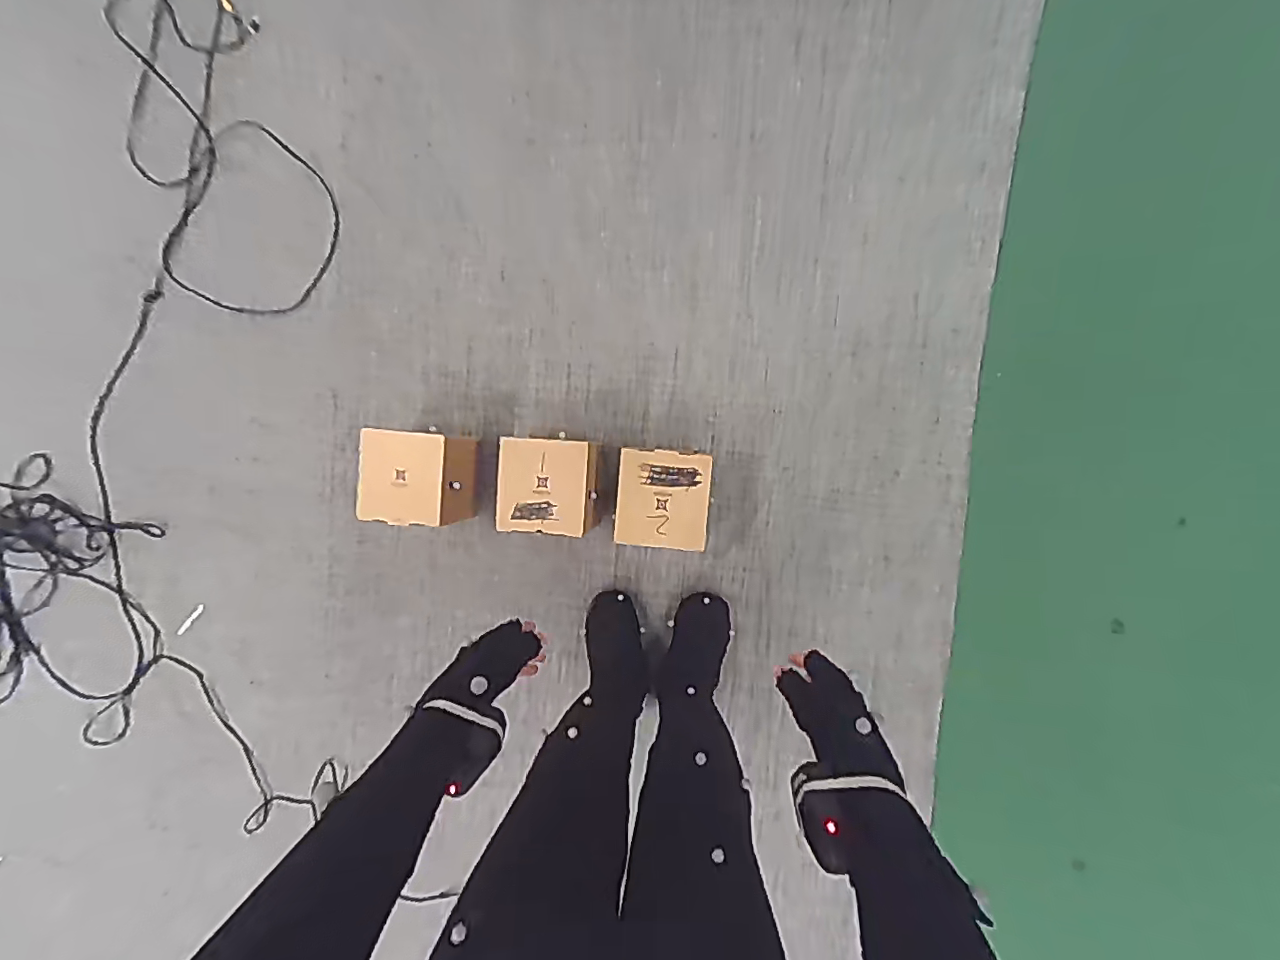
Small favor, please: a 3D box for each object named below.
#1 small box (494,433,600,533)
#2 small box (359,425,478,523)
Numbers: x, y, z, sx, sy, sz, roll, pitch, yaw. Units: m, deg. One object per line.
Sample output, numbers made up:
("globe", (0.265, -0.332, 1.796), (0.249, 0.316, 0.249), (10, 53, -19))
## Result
("small box", (-0.176, 0.002, 1.069), (0.168, 0.176, 0.179), (4, 93, 6))
("small box", (-0.440, -0.015, 1.097), (0.168, 0.176, 0.179), (5, 94, 6))
